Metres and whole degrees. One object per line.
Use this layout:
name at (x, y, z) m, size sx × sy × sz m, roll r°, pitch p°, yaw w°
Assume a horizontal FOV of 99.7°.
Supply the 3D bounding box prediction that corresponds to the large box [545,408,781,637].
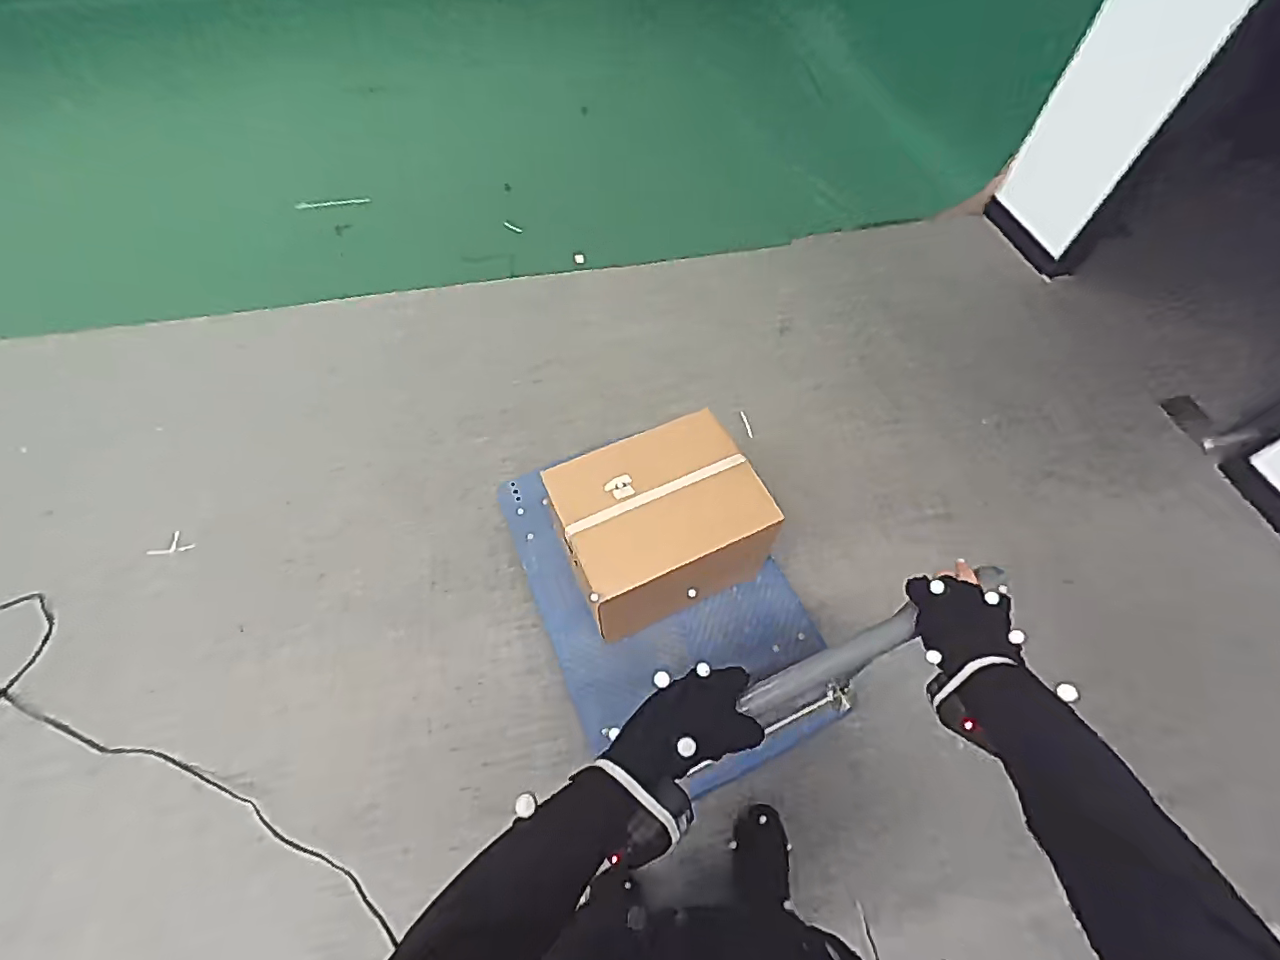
large box at (0.044, 0.103, 1.235) m, size 0.408 × 0.320 × 0.320 m, roll -23°, pitch 62°, yaw -13°
